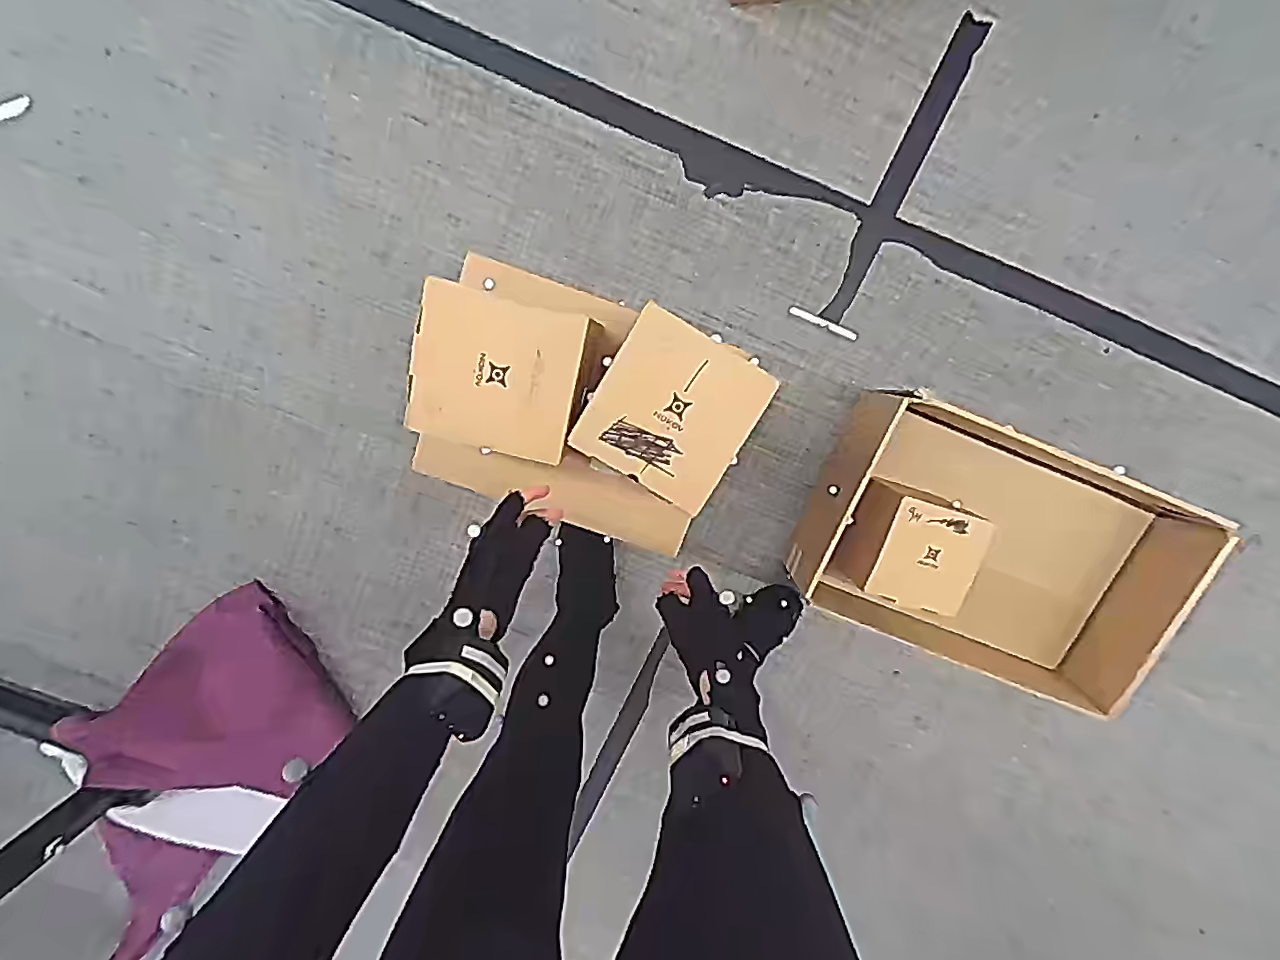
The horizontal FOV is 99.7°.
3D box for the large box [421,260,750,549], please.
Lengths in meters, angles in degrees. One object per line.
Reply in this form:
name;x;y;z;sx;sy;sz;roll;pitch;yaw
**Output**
large box;-0.084;-0.125;0.903;0.408;0.320;0.320;18;102;-4
